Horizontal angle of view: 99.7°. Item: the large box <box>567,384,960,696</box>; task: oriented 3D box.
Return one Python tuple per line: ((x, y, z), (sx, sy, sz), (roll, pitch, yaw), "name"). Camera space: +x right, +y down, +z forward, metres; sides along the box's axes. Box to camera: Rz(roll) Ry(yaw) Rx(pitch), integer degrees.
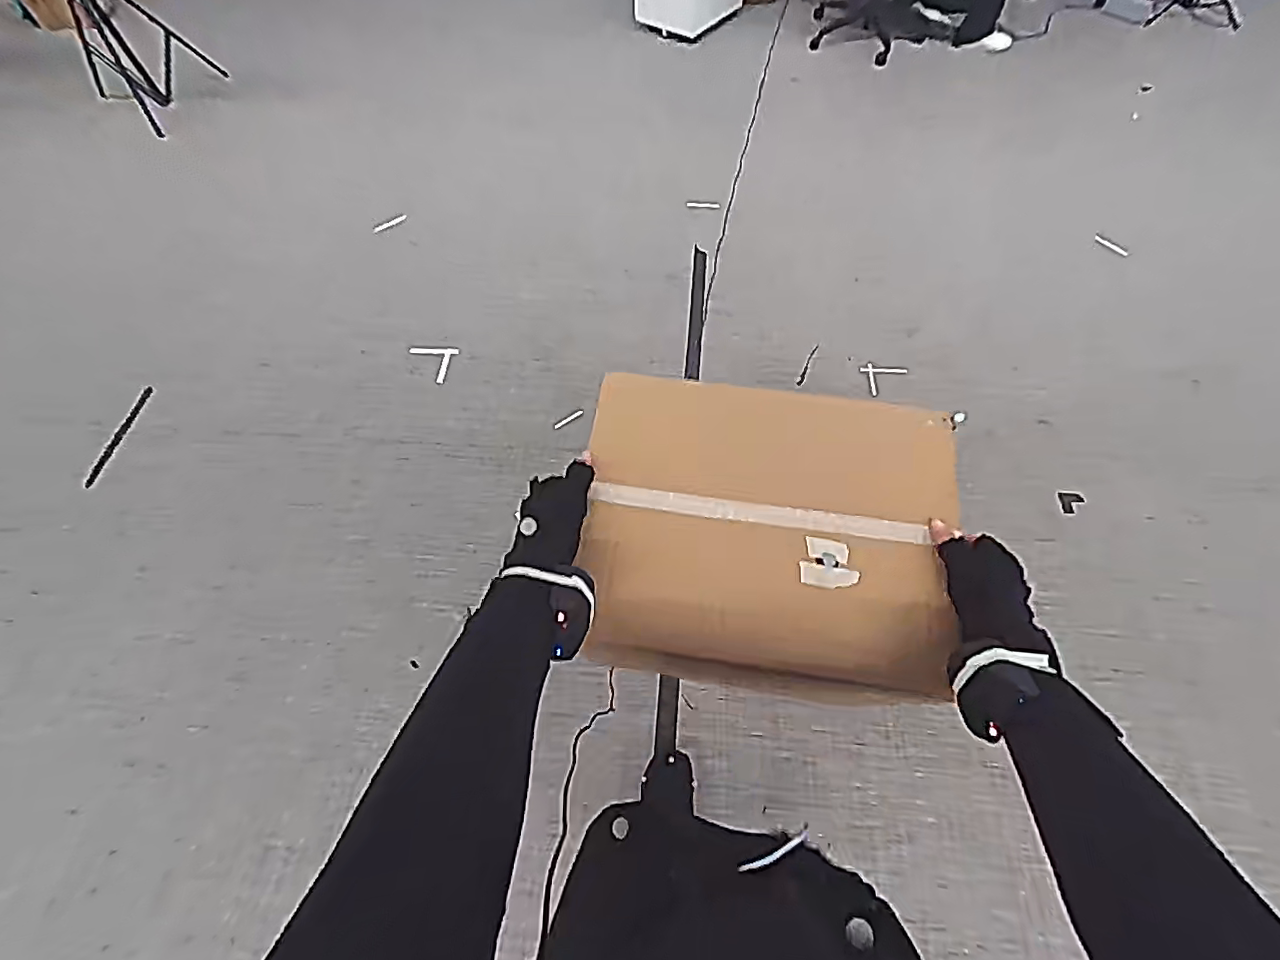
((0.141, 0.100, 0.735), (0.408, 0.320, 0.320), (8, 69, 4), "large box")
